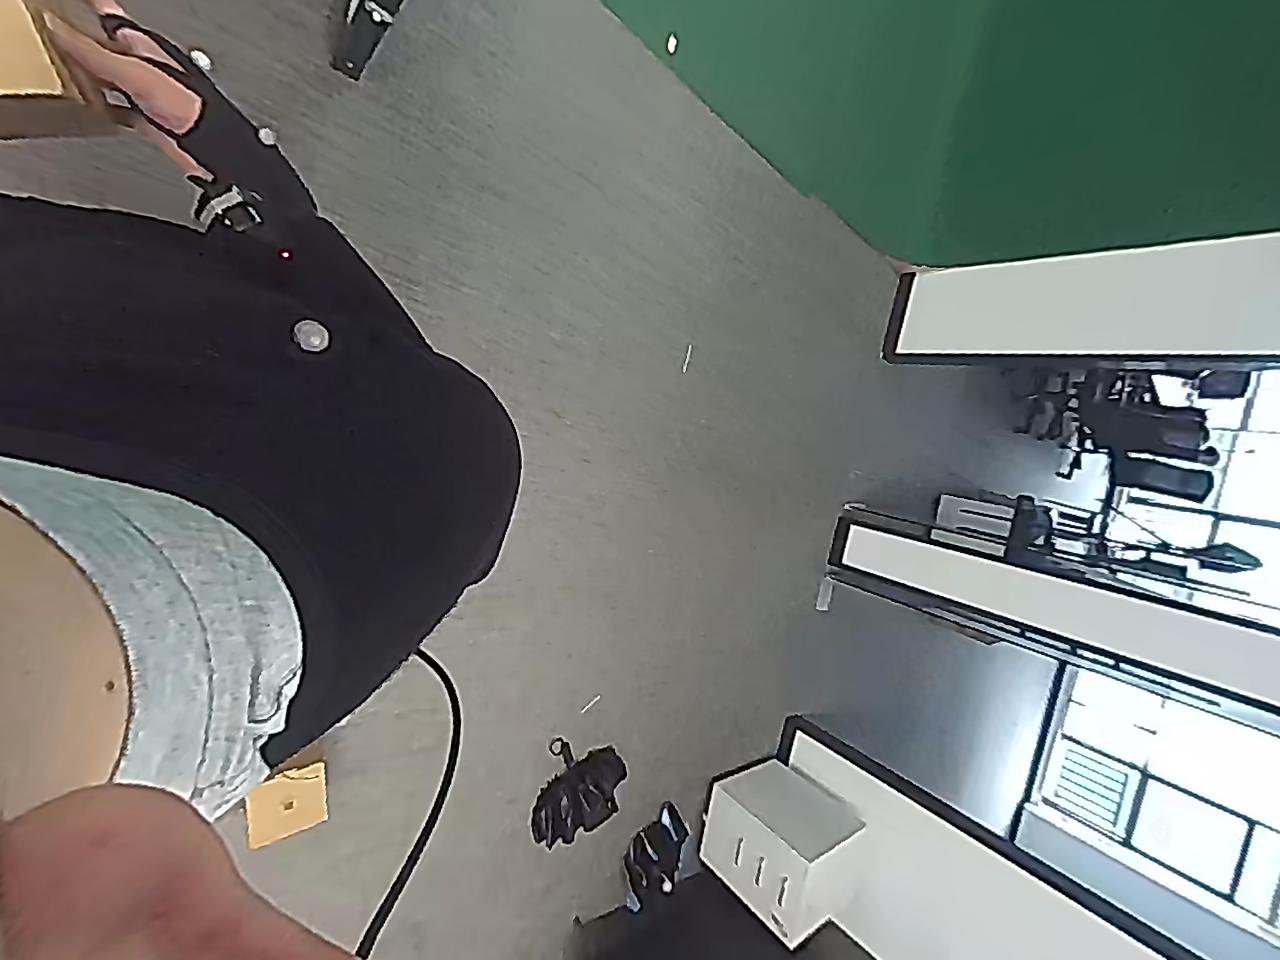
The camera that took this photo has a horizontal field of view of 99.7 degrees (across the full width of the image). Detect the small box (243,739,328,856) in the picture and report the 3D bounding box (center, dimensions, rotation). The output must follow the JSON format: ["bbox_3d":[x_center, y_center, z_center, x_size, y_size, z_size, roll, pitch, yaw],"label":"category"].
[{"bbox_3d":[-0.917,0.804,1.397,0.168,0.176,0.179,-6,106,-37],"label":"small box"}]
